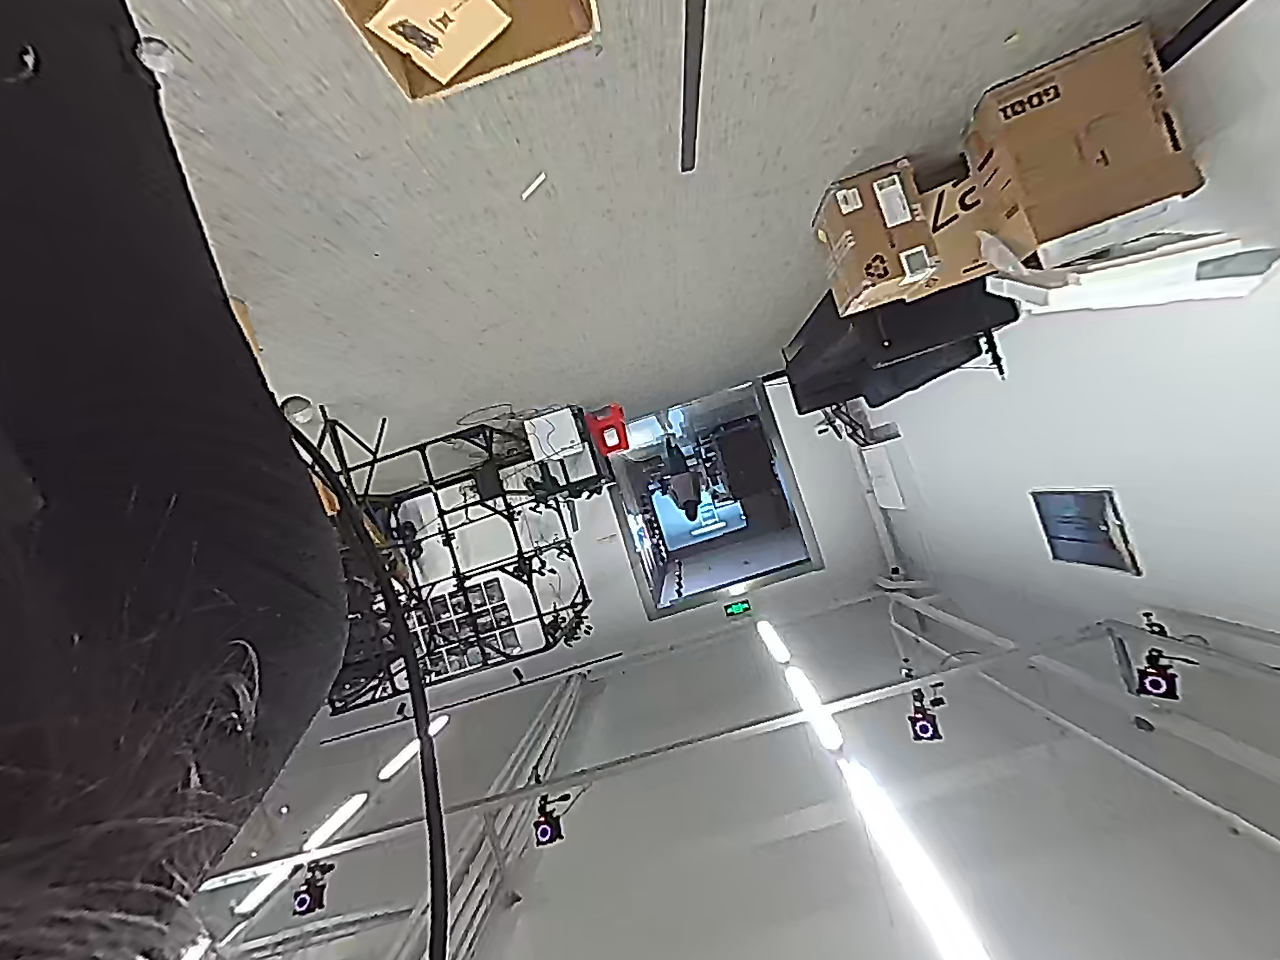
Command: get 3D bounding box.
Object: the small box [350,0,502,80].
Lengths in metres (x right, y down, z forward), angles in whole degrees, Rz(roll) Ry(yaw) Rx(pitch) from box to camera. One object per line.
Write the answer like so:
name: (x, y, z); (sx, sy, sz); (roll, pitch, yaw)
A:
small box: (-0.364, -0.831, 0.891); (0.179, 0.176, 0.168); (-20, 176, 25)
